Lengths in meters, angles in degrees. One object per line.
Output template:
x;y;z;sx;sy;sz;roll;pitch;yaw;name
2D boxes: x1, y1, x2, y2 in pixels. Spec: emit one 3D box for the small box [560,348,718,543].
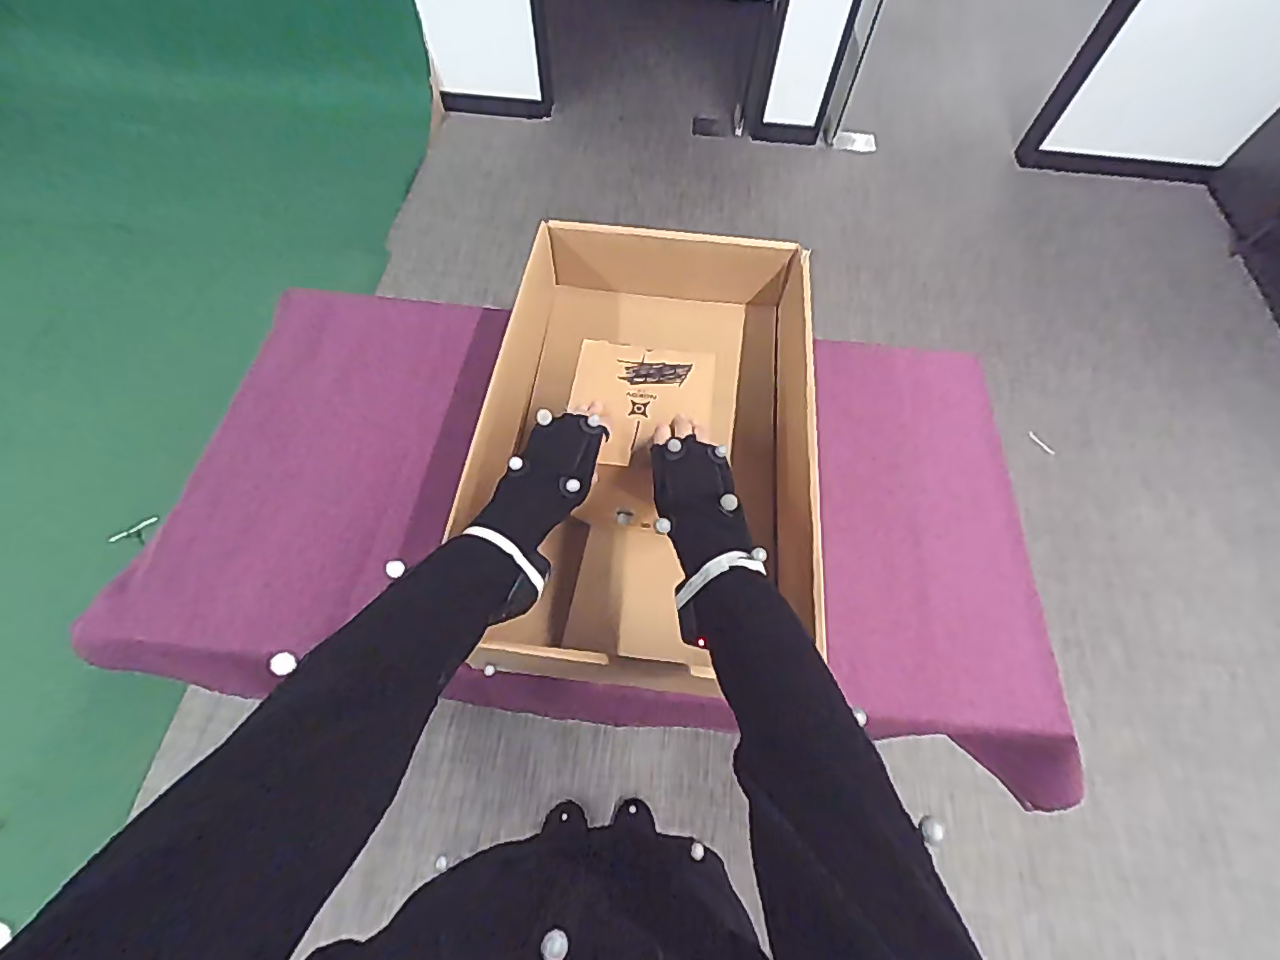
0.000;-0.039;0.692;0.168;0.176;0.179;7;61;2;small box
